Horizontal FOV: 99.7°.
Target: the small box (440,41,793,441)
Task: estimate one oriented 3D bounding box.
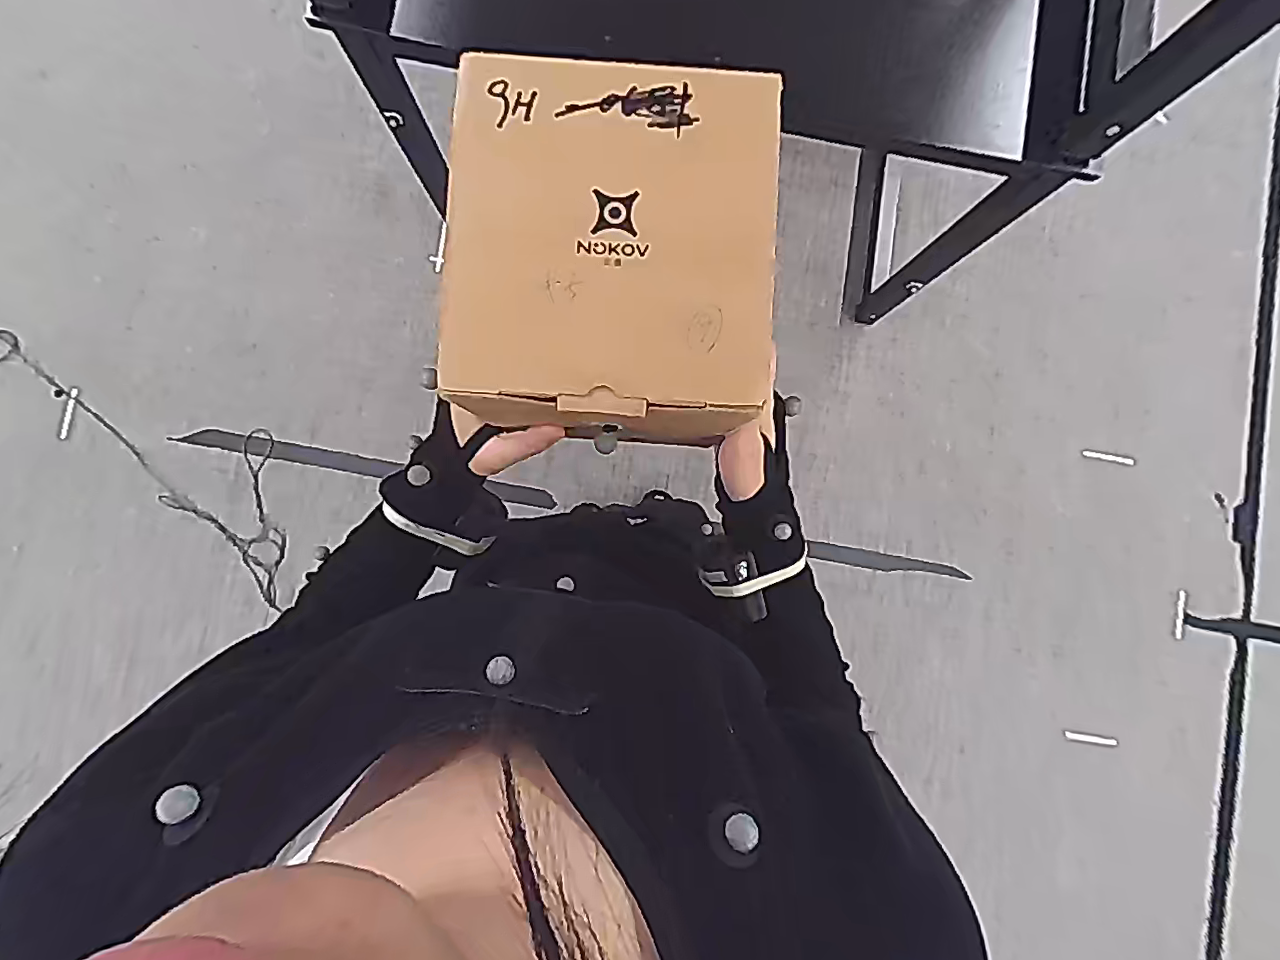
[{"bbox_3d":[-0.014,-0.121,0.343,0.168,0.176,0.179,3,88,-3],"label":"small box"}]
